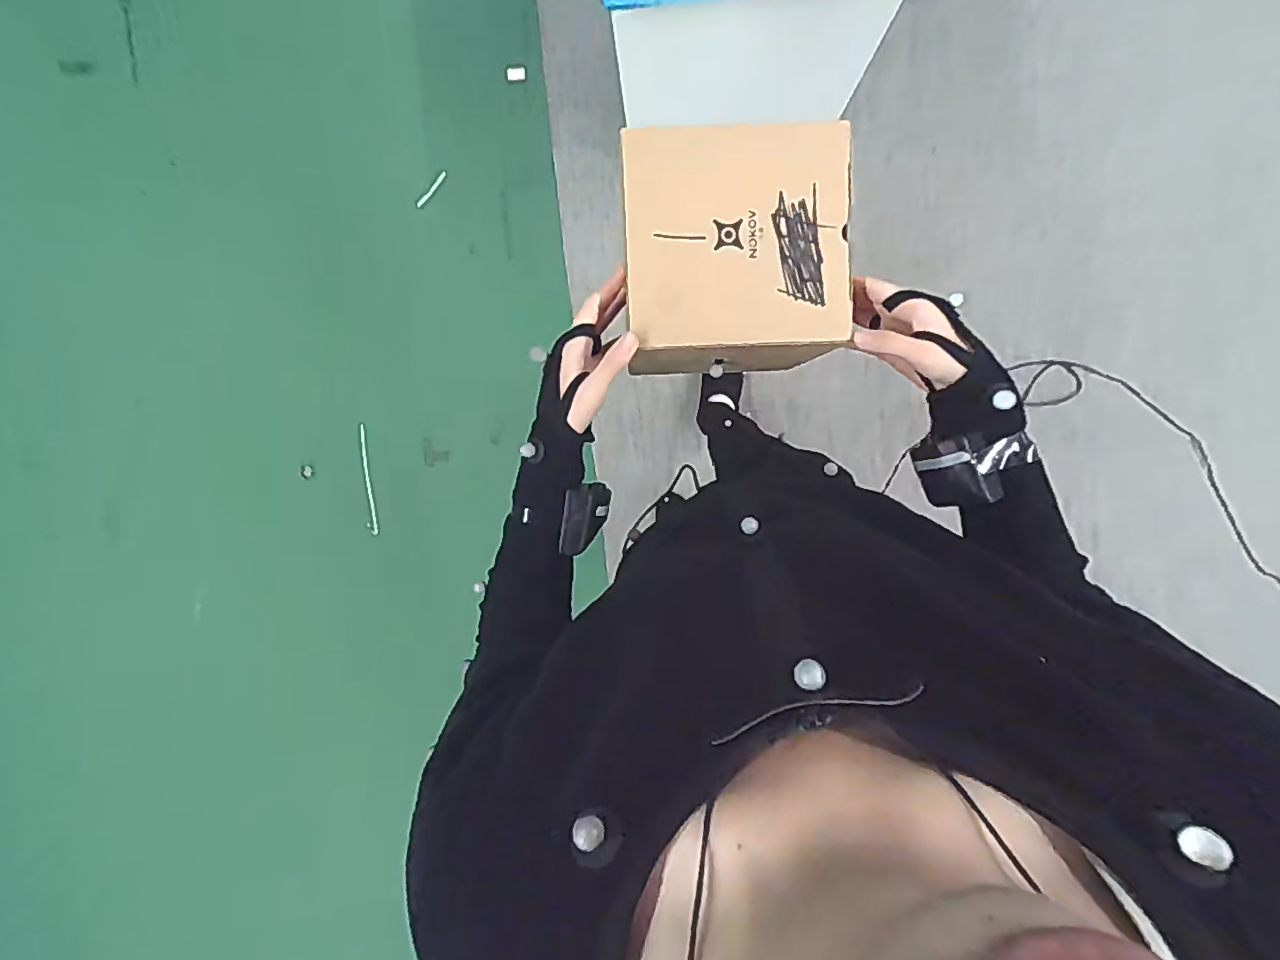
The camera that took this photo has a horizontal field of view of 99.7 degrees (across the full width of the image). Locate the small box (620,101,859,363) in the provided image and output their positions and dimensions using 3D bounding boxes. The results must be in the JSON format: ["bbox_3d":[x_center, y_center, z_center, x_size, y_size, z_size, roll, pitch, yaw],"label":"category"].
[{"bbox_3d":[0.073,-0.199,0.479,0.179,0.176,0.168,-2,94,-1],"label":"small box"}]
